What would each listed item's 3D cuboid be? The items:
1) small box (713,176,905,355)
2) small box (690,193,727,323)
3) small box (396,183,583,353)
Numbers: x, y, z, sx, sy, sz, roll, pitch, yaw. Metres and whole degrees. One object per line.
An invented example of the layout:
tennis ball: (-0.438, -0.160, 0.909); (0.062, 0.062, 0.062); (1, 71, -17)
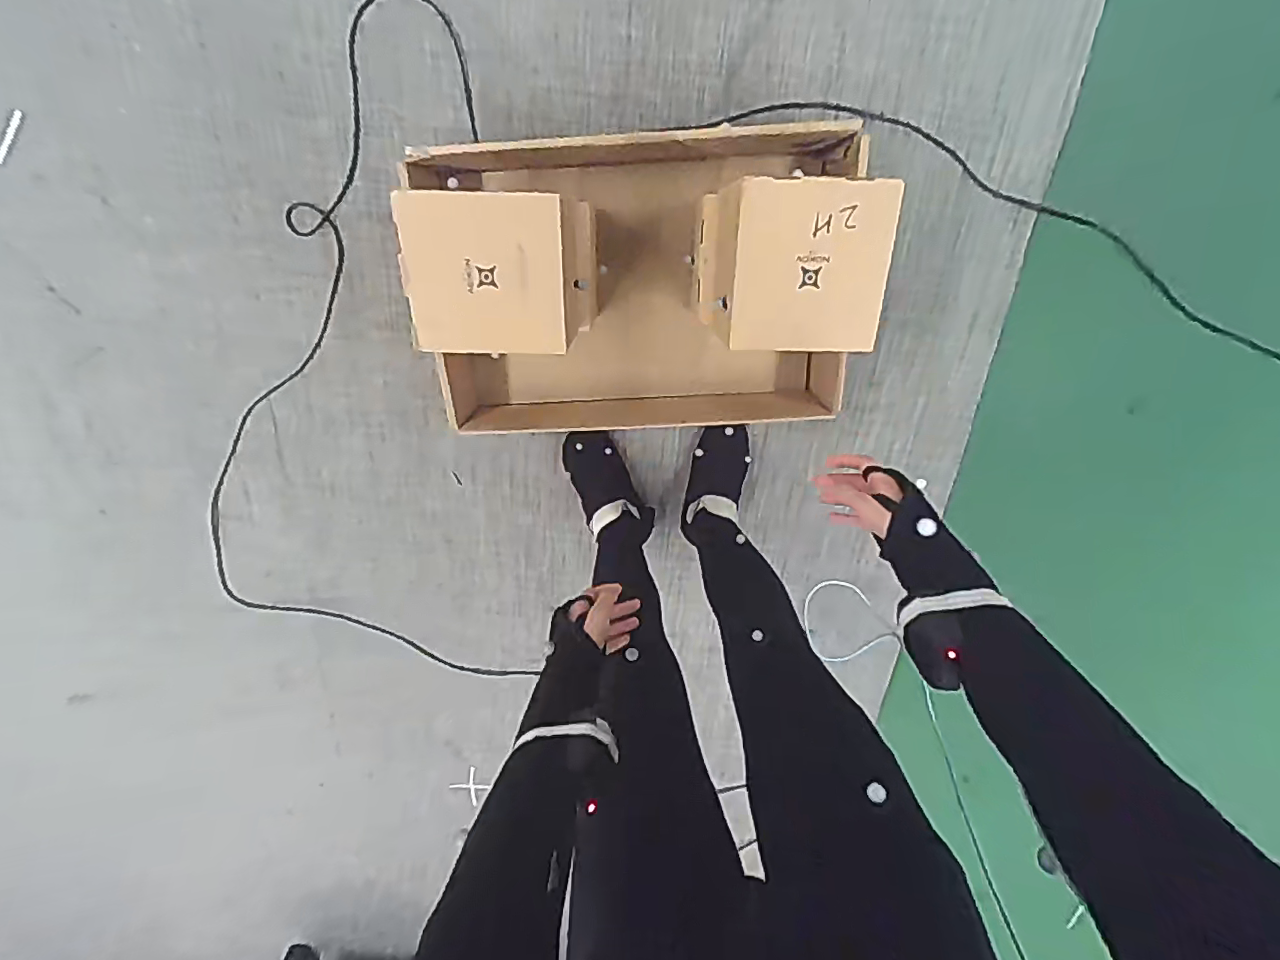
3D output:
small box: (0.185, -0.256, 0.653); (0.168, 0.176, 0.179); (1, 113, -2)
small box: (0.169, -0.323, 0.803); (0.179, 0.176, 0.168); (2, 114, 0)
small box: (-0.165, -0.255, 0.654); (0.179, 0.176, 0.168); (2, 115, -1)
